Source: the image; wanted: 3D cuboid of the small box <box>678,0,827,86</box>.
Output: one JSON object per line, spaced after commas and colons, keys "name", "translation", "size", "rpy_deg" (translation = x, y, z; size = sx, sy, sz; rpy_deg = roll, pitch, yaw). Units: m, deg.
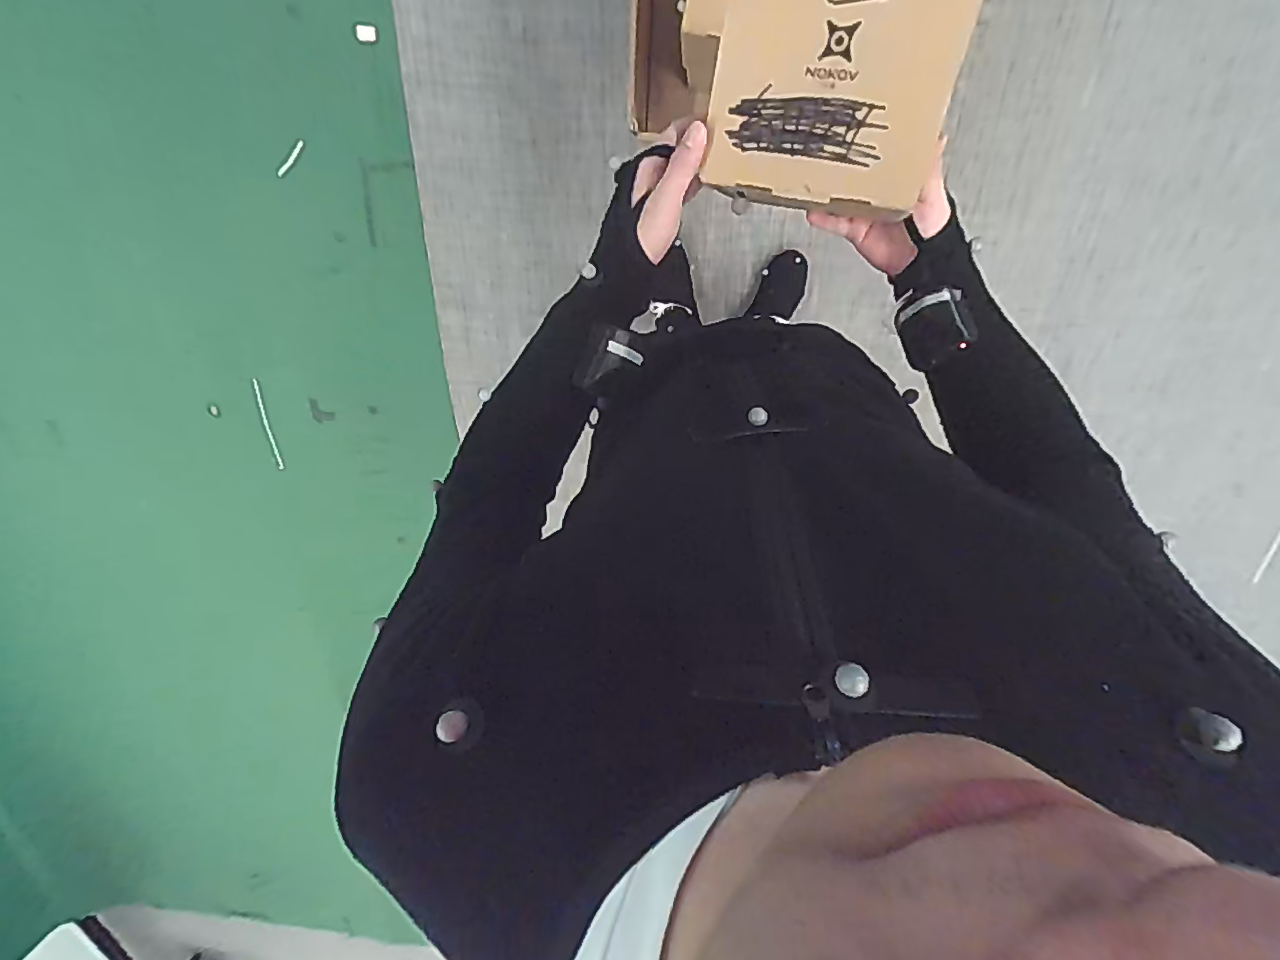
{"name": "small box", "translation": [0.149, -0.625, 0.676], "size": [0.168, 0.176, 0.179], "rpy_deg": [13, 115, -1]}
